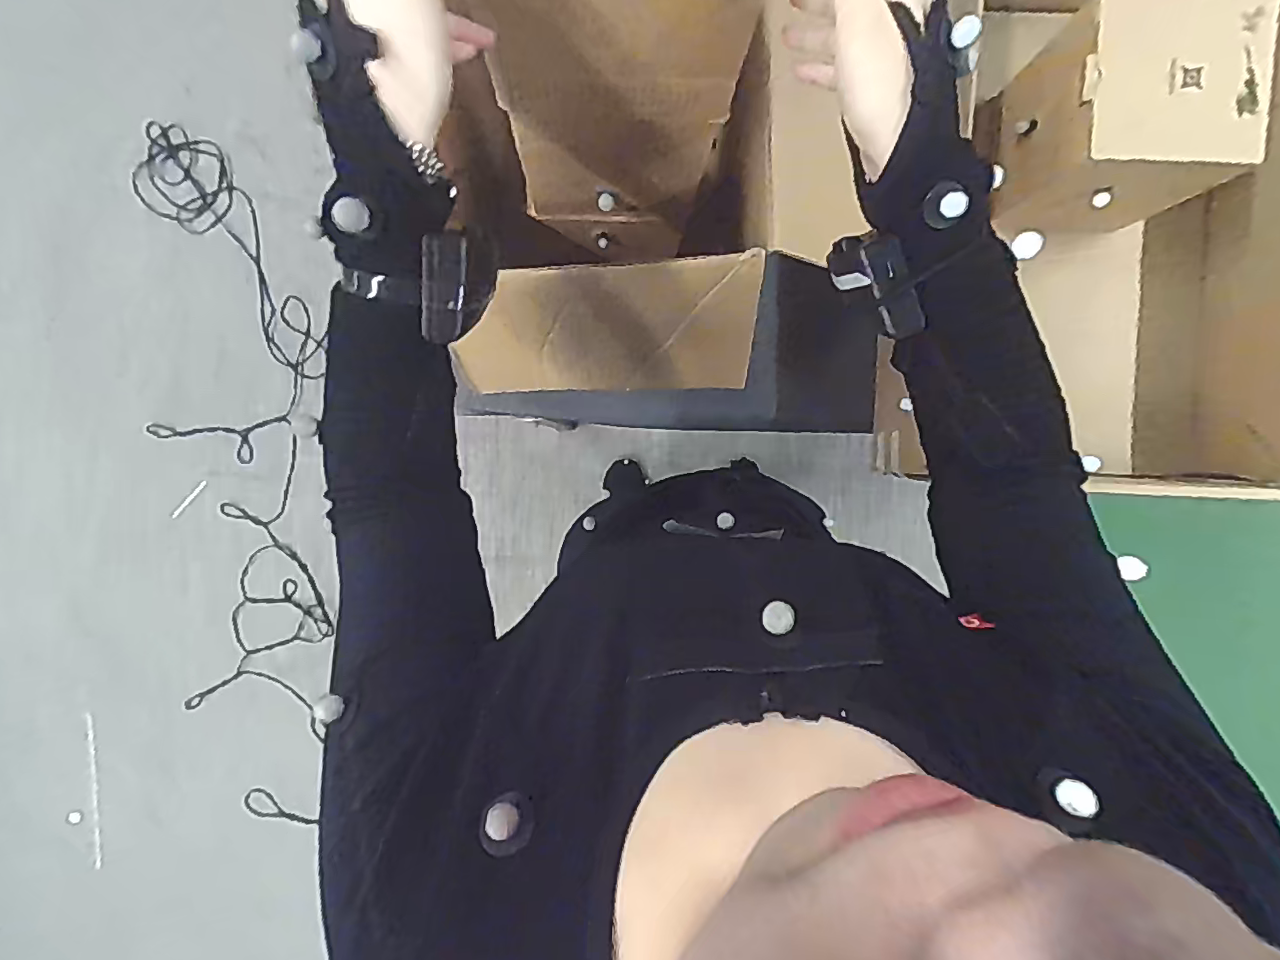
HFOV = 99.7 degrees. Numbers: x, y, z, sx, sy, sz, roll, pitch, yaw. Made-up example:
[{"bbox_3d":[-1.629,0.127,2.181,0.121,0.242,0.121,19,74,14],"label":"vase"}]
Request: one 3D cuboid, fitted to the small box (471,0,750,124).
[{"bbox_3d":[-0.017,-0.358,0.337,0.179,0.176,0.168,1,91,-4],"label":"small box"}]
